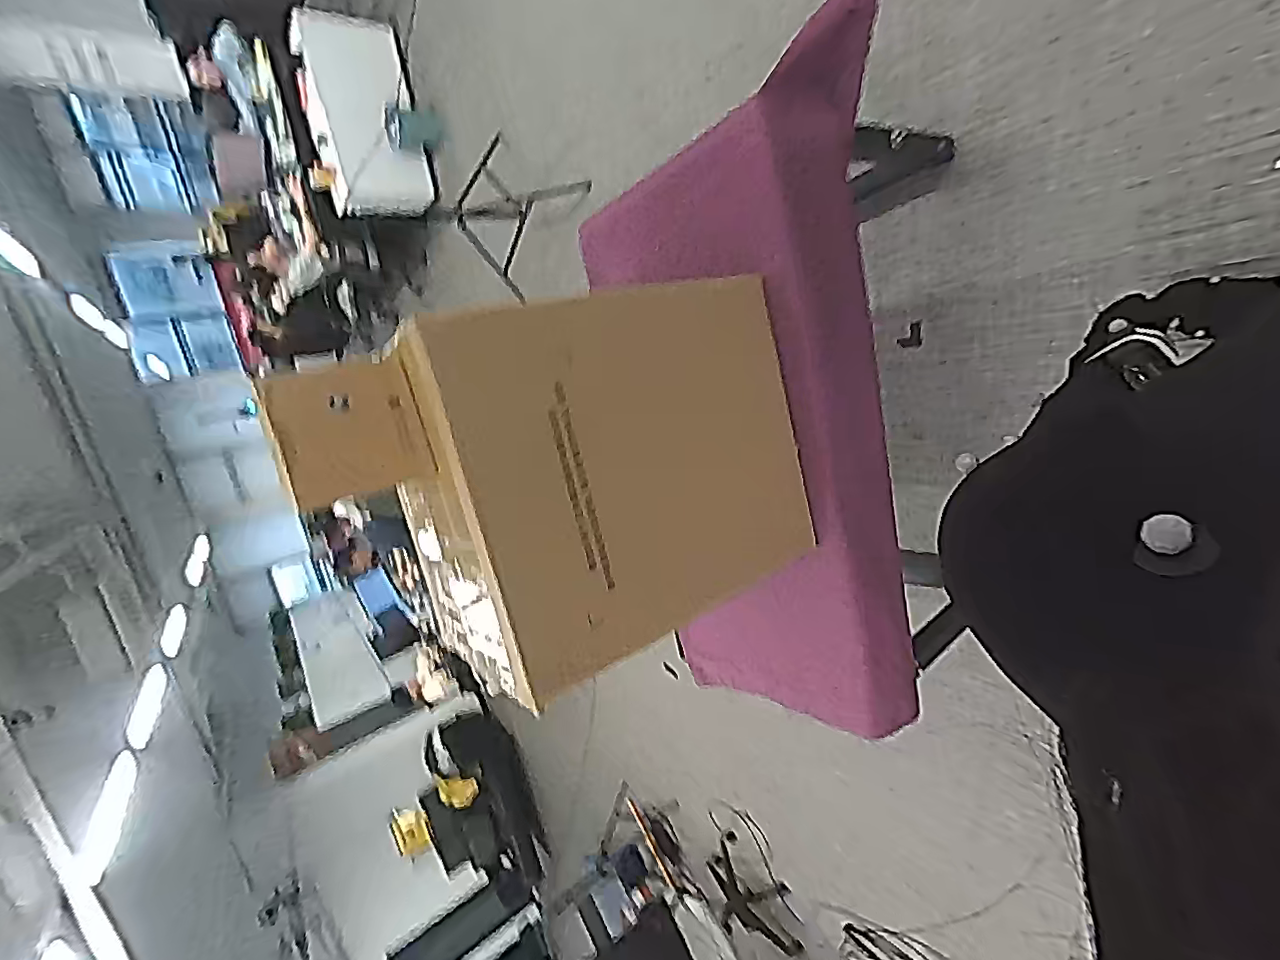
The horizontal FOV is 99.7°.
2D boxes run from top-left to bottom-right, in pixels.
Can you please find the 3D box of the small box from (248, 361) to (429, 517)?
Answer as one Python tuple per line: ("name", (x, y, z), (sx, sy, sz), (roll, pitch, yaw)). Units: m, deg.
("small box", (-0.405, -0.055, 0.737), (0.179, 0.176, 0.168), (-4, 103, 56))
